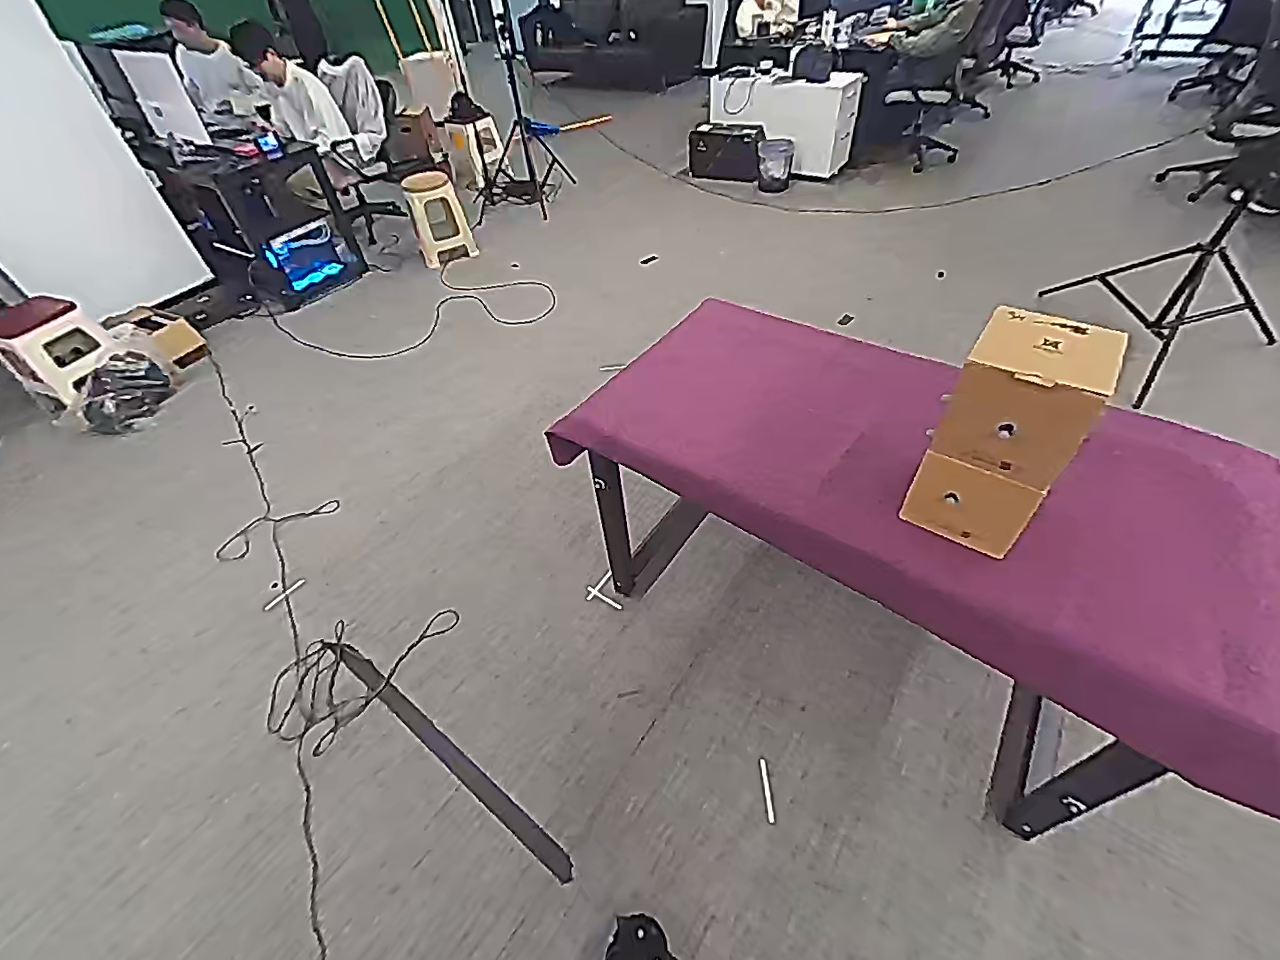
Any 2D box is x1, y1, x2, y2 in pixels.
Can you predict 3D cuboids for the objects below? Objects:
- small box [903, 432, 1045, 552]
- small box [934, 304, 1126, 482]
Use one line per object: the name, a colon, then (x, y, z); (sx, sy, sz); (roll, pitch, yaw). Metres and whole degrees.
small box: (0.566, -0.011, 0.909); (0.168, 0.176, 0.179); (26, 53, 27)
small box: (0.558, -0.126, 0.793); (0.168, 0.176, 0.179); (27, 54, 27)
